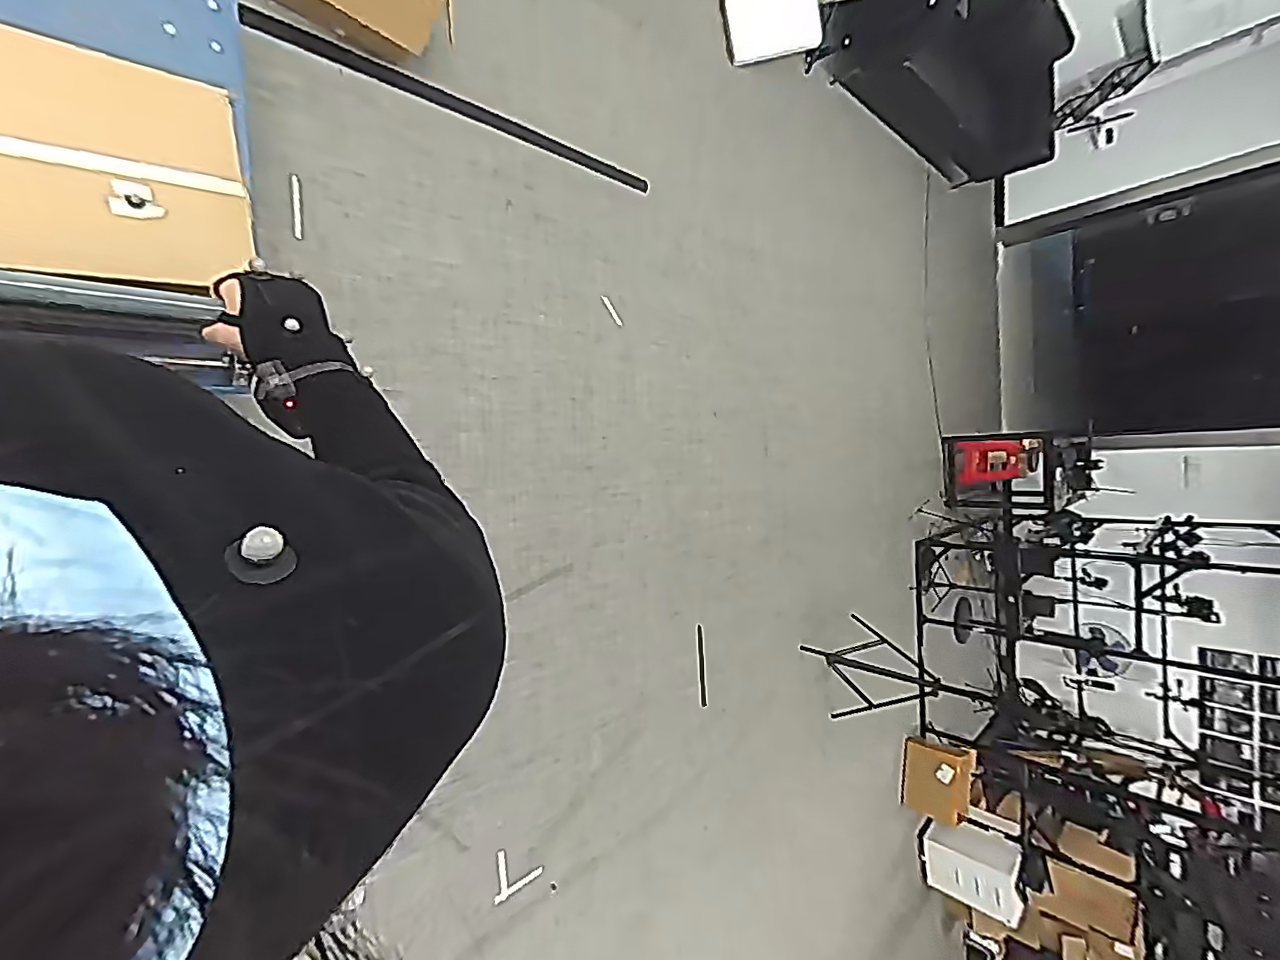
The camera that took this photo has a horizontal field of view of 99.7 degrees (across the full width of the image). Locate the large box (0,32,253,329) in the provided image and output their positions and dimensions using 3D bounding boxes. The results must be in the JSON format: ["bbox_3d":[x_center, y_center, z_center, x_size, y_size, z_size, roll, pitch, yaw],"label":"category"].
[{"bbox_3d":[-0.891,-0.427,0.833,0.408,0.320,0.320,-11,97,-45],"label":"large box"}]
